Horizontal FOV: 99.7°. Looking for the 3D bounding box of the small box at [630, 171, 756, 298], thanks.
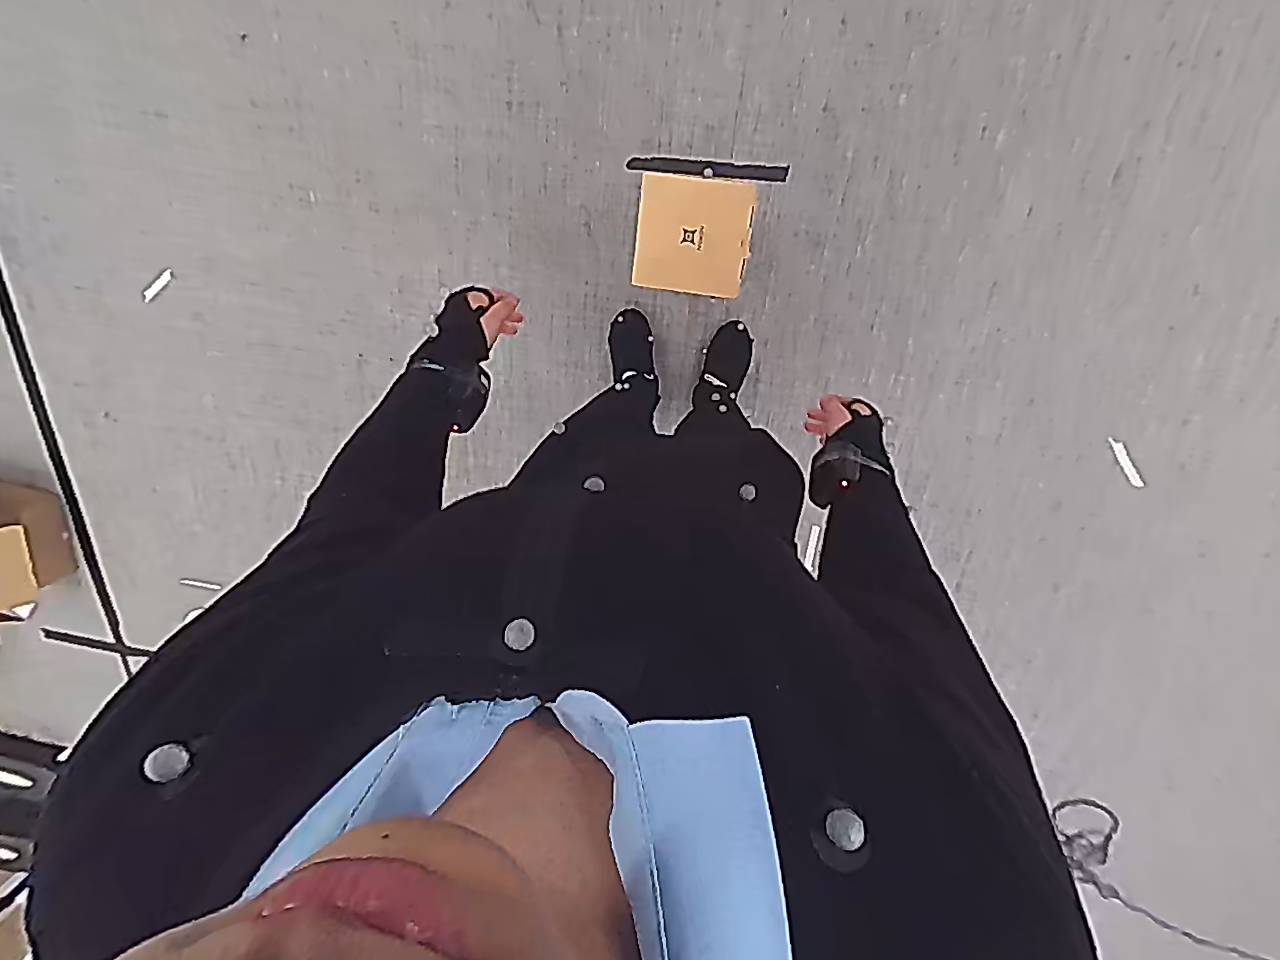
[{"bbox_3d":[0.089,-0.405,0.908,0.179,0.176,0.168,9,113,4],"label":"small box"}]
